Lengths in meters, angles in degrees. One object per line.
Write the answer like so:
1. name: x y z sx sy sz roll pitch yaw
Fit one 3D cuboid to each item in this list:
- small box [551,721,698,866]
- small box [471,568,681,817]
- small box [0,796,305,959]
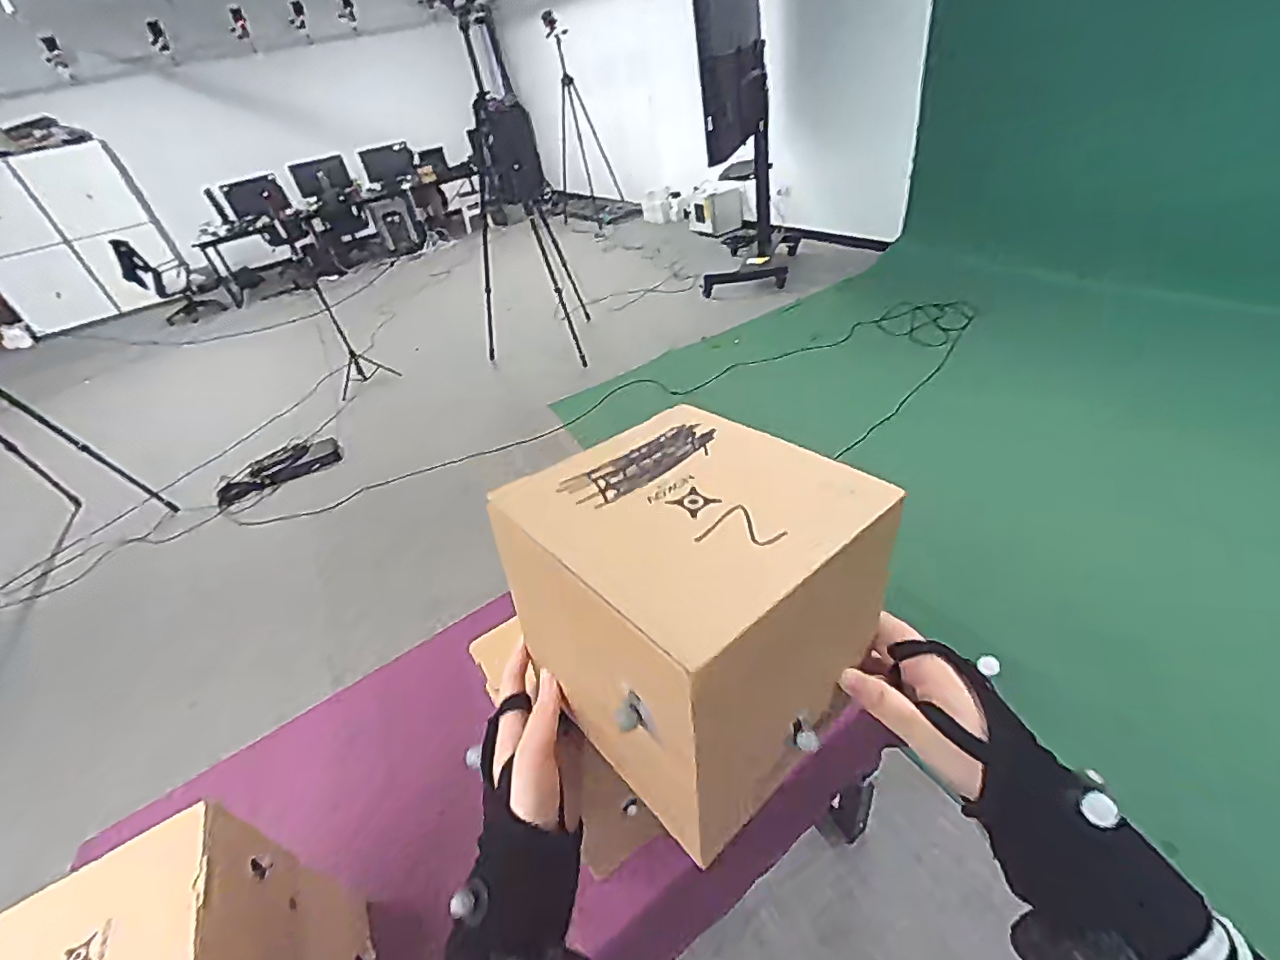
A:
1. small box: -0.039 0.371 0.733 0.179 0.176 0.168 -28 40 -20
2. small box: -0.065 0.244 0.634 0.179 0.176 0.168 -30 41 -19
3. small box: -0.431 0.440 0.490 0.179 0.176 0.168 -27 39 -17
